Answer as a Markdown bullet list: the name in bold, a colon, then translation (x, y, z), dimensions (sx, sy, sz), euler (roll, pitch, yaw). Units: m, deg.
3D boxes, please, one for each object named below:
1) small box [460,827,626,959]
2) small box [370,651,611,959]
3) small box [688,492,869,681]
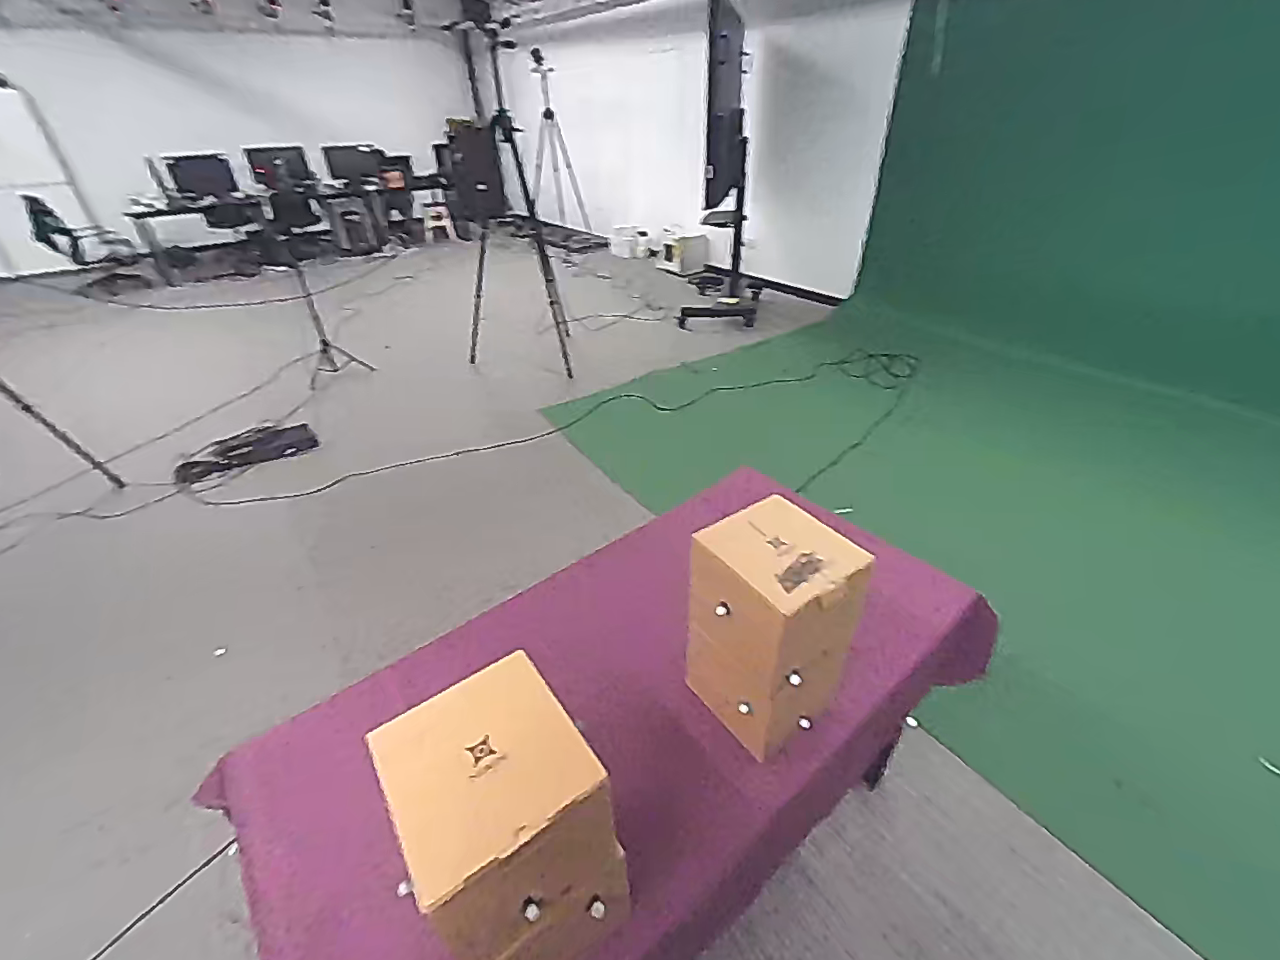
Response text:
- **small box**: translation (-0.130, 0.456, 0.631), dimensions (0.179, 0.176, 0.168), euler (-25, 40, -28)
- **small box**: translation (-0.144, 0.318, 0.543), dimensions (0.168, 0.176, 0.179), euler (-24, 40, -28)
- **small box**: translation (0.184, 0.151, 0.757), dimensions (0.168, 0.176, 0.179), euler (-23, 39, -26)
